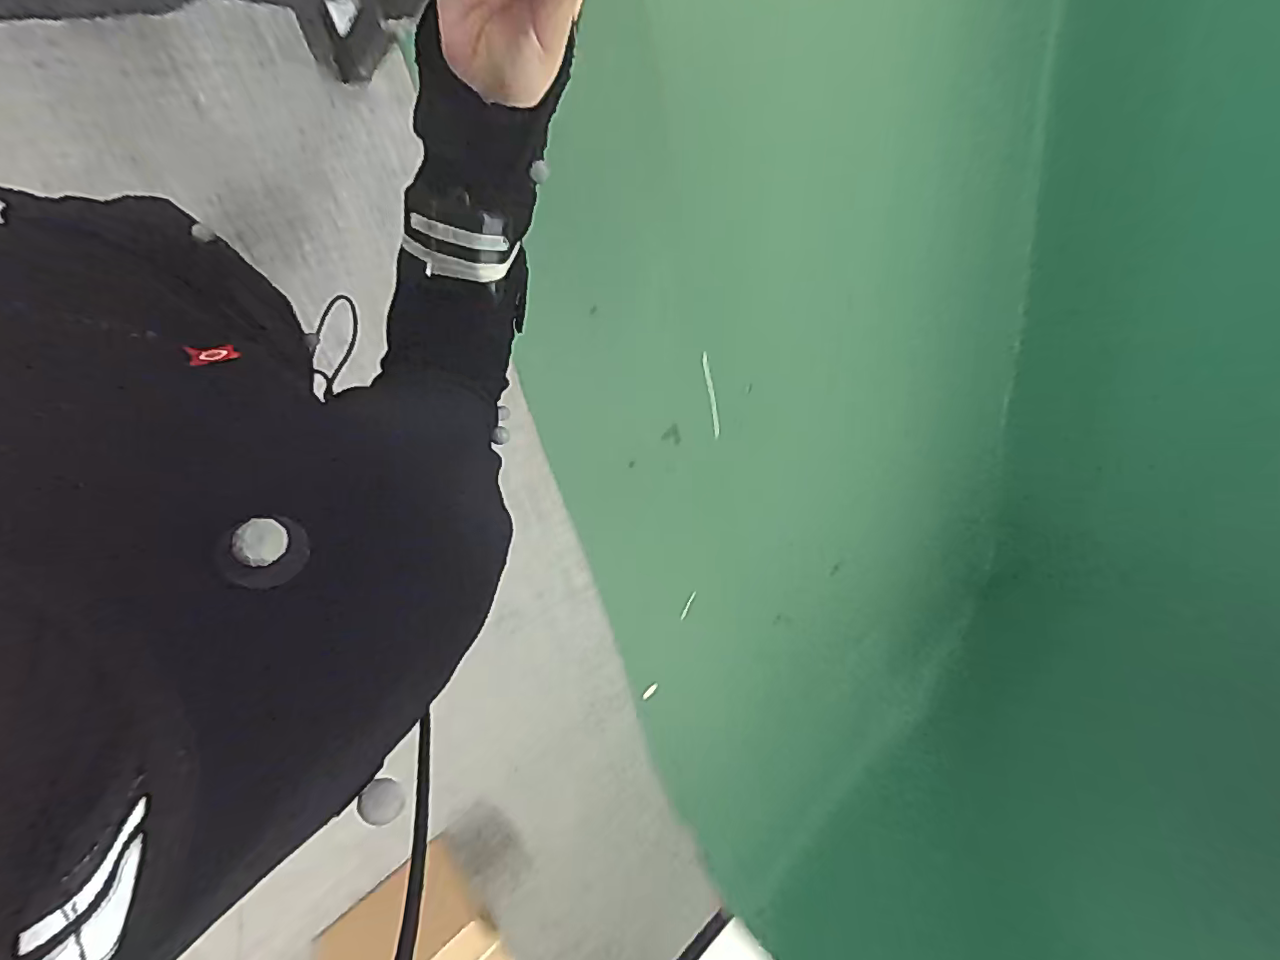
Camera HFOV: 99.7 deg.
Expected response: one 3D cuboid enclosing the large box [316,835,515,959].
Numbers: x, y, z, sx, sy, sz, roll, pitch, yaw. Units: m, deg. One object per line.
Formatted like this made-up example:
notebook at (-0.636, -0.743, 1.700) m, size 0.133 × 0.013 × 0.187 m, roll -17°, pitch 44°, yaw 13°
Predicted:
large box at (-0.651, 1.370, 1.584) m, size 0.408 × 0.320 × 0.320 m, roll -34°, pitch 123°, yaw -24°
